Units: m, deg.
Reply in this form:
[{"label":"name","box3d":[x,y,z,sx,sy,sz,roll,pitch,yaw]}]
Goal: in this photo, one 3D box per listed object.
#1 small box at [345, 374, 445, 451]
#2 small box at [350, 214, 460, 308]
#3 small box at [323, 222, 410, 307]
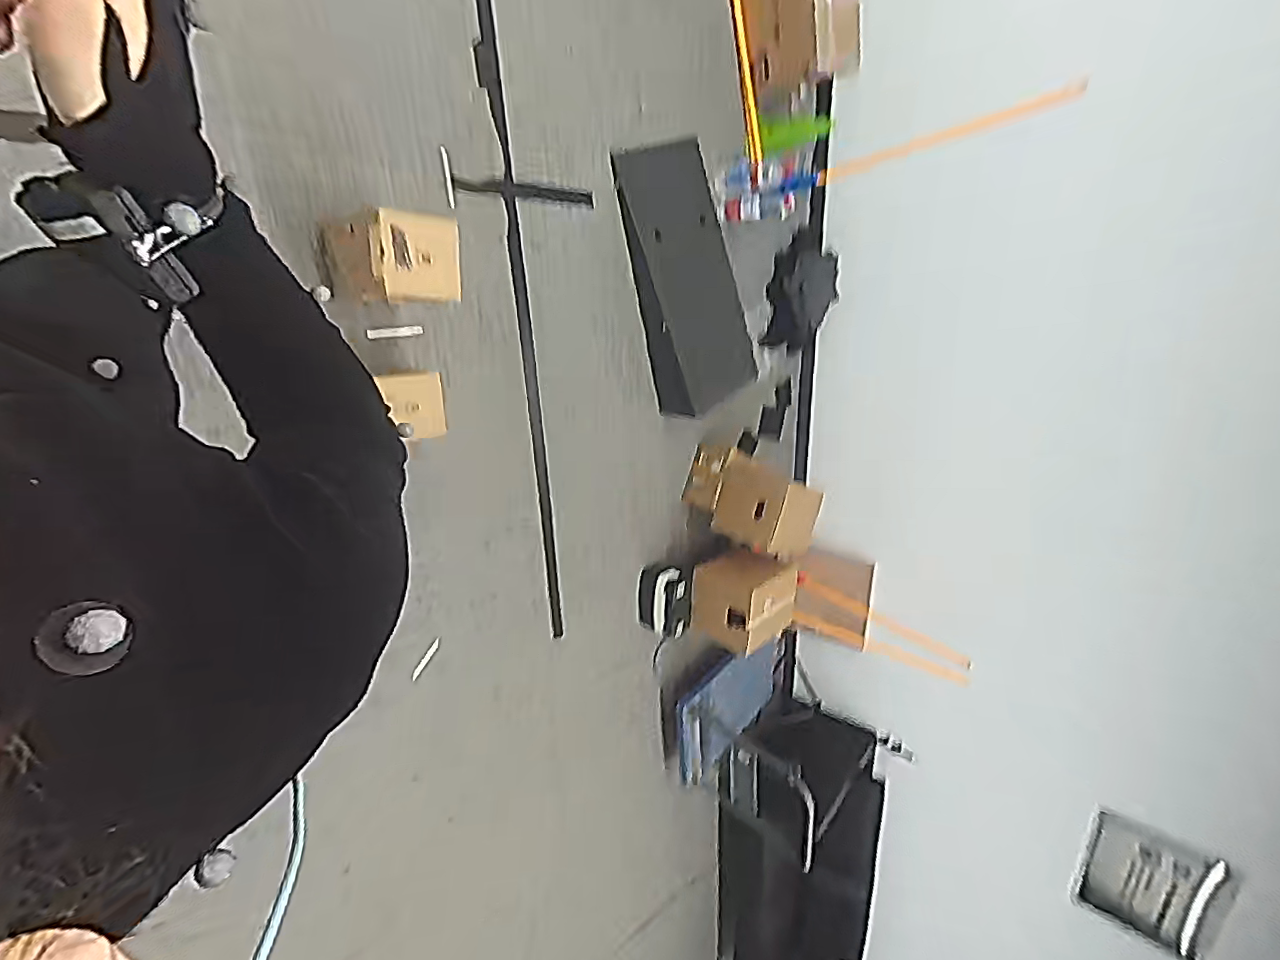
[{"label":"small box","box3d":[-0.639,-0.184,1.415,0.179,0.176,0.168,-19,115,-44]},{"label":"small box","box3d":[-0.523,-0.475,1.199,0.179,0.176,0.168,-13,112,-47]},{"label":"small box","box3d":[-0.641,-0.515,1.308,0.168,0.176,0.179,-19,117,-44]}]
